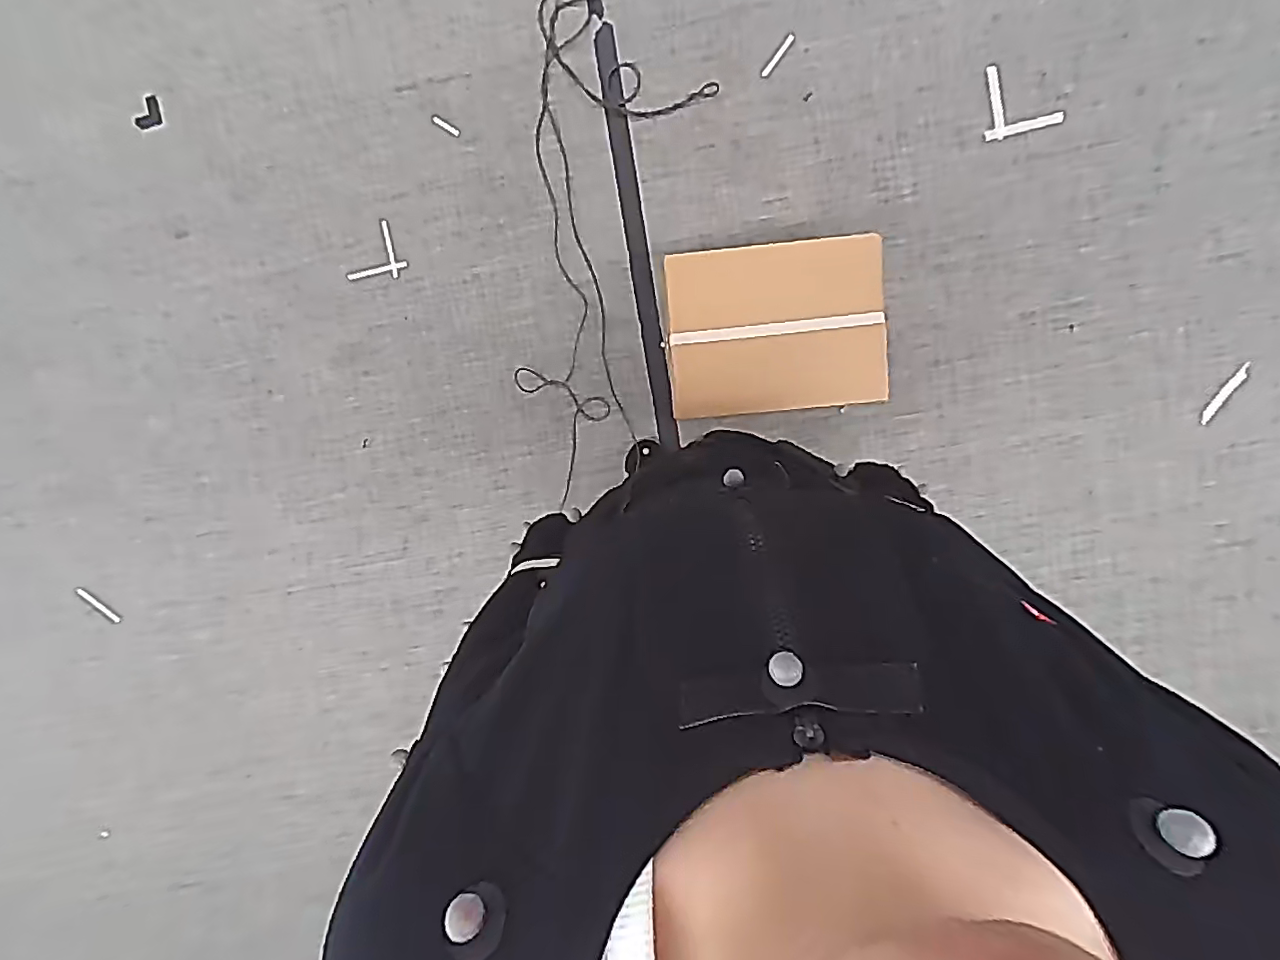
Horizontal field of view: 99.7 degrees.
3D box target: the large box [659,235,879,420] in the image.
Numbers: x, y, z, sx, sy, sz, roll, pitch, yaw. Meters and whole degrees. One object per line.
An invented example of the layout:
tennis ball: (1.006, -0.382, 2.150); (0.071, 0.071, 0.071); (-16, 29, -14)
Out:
large box: (0.257, -0.306, 1.184); (0.408, 0.320, 0.320); (-5, 96, 3)
